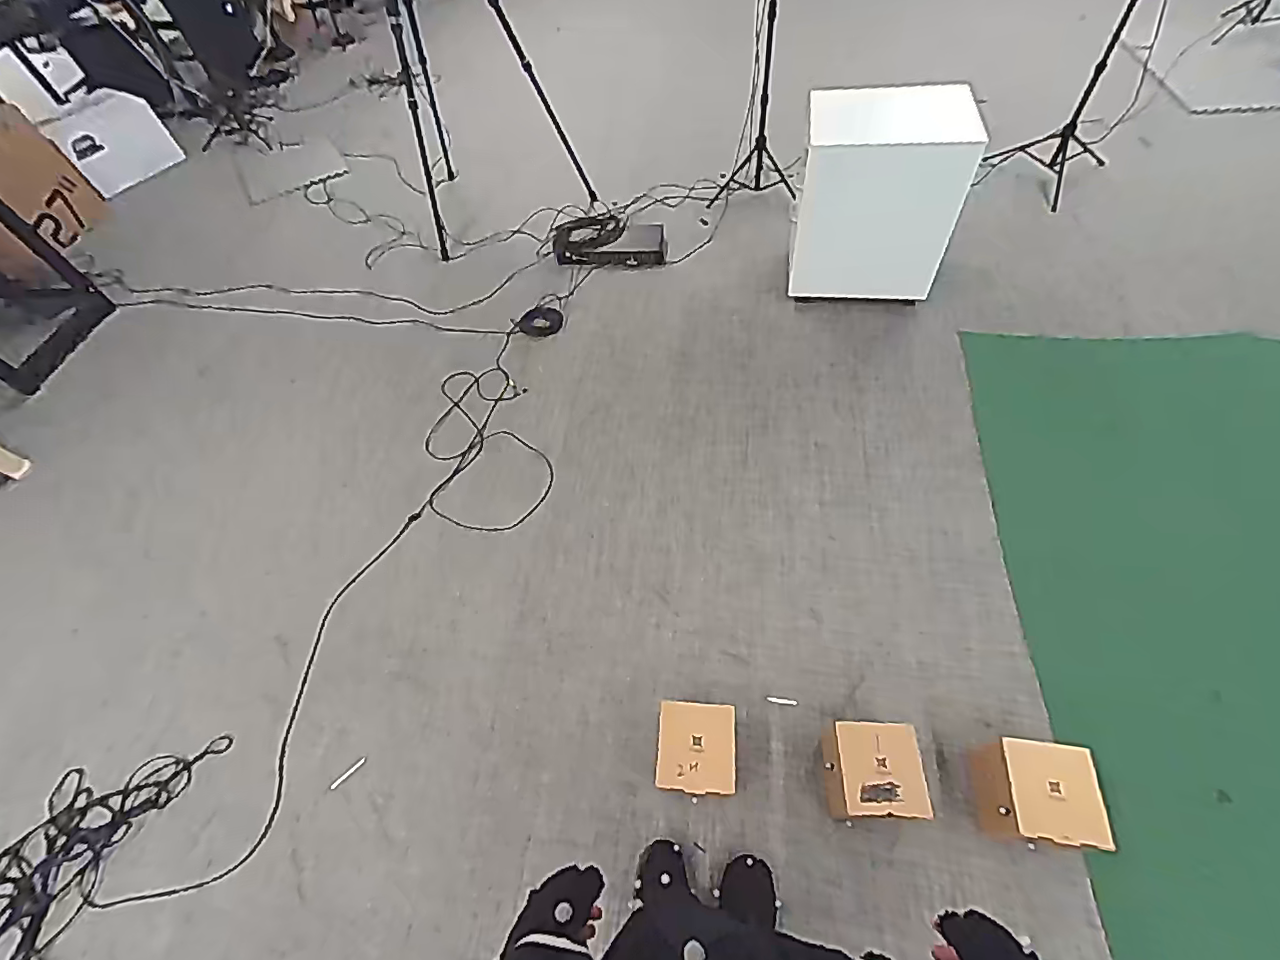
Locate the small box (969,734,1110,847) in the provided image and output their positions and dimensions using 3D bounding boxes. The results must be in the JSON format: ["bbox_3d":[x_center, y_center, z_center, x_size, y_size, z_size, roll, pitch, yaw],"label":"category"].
[{"bbox_3d":[0.821,0.654,1.136,0.168,0.176,0.179,4,57,10],"label":"small box"}]

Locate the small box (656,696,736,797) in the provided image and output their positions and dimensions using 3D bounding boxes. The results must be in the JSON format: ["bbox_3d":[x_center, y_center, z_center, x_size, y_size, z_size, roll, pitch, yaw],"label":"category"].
[{"bbox_3d":[0.130,0.609,1.233,0.168,0.176,0.179,1,57,8],"label":"small box"}]

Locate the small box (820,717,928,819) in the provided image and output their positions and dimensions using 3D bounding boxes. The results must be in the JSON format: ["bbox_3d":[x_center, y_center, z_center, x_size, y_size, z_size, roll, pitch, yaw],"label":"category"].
[{"bbox_3d":[0.501,0.632,1.182,0.168,0.176,0.179,0,55,6],"label":"small box"}]
